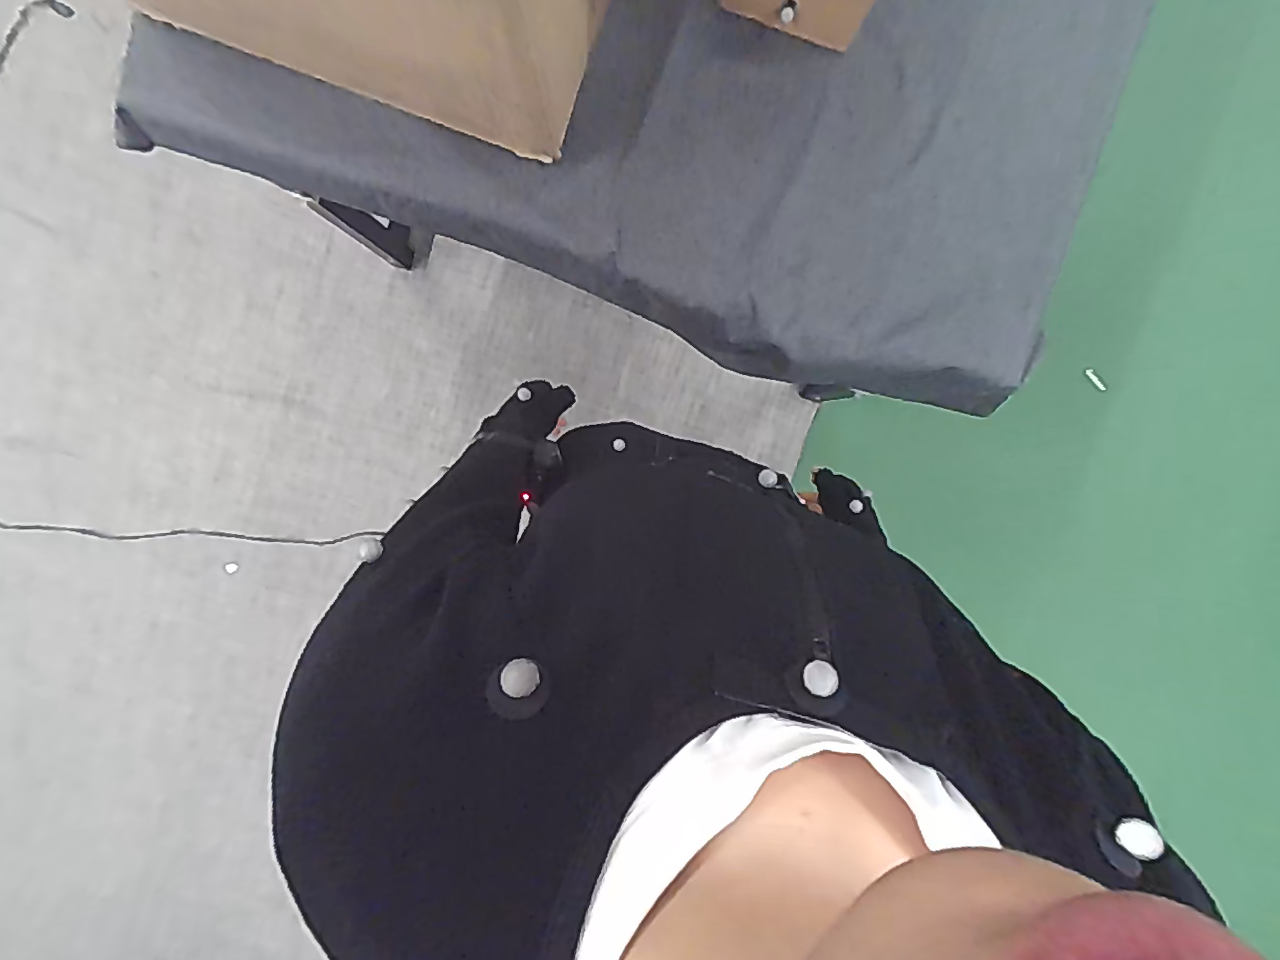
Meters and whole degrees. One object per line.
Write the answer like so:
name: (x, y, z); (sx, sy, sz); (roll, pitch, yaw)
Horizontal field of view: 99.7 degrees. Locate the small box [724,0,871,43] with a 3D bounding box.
small box: (0.209, -0.644, 0.602); (0.179, 0.176, 0.168); (18, 95, -3)
